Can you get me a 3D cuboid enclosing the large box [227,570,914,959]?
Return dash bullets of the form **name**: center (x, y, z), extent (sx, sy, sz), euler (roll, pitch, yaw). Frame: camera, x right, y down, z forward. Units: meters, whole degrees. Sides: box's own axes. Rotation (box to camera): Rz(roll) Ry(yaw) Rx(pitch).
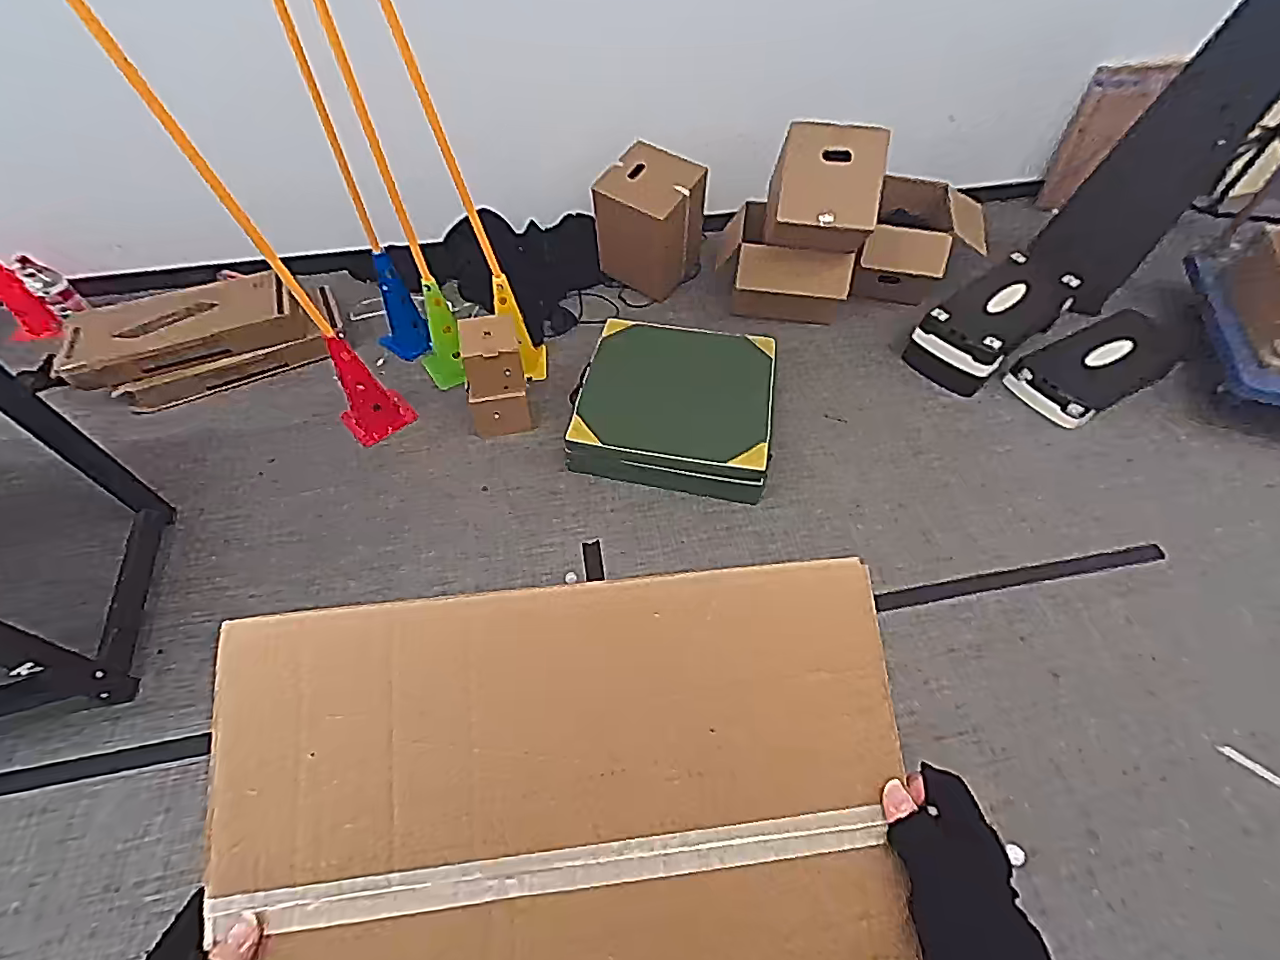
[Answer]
- **large box**: center (-0.046, 0.260, 0.473), extent (0.408, 0.320, 0.320), euler (-5, 78, -4)
